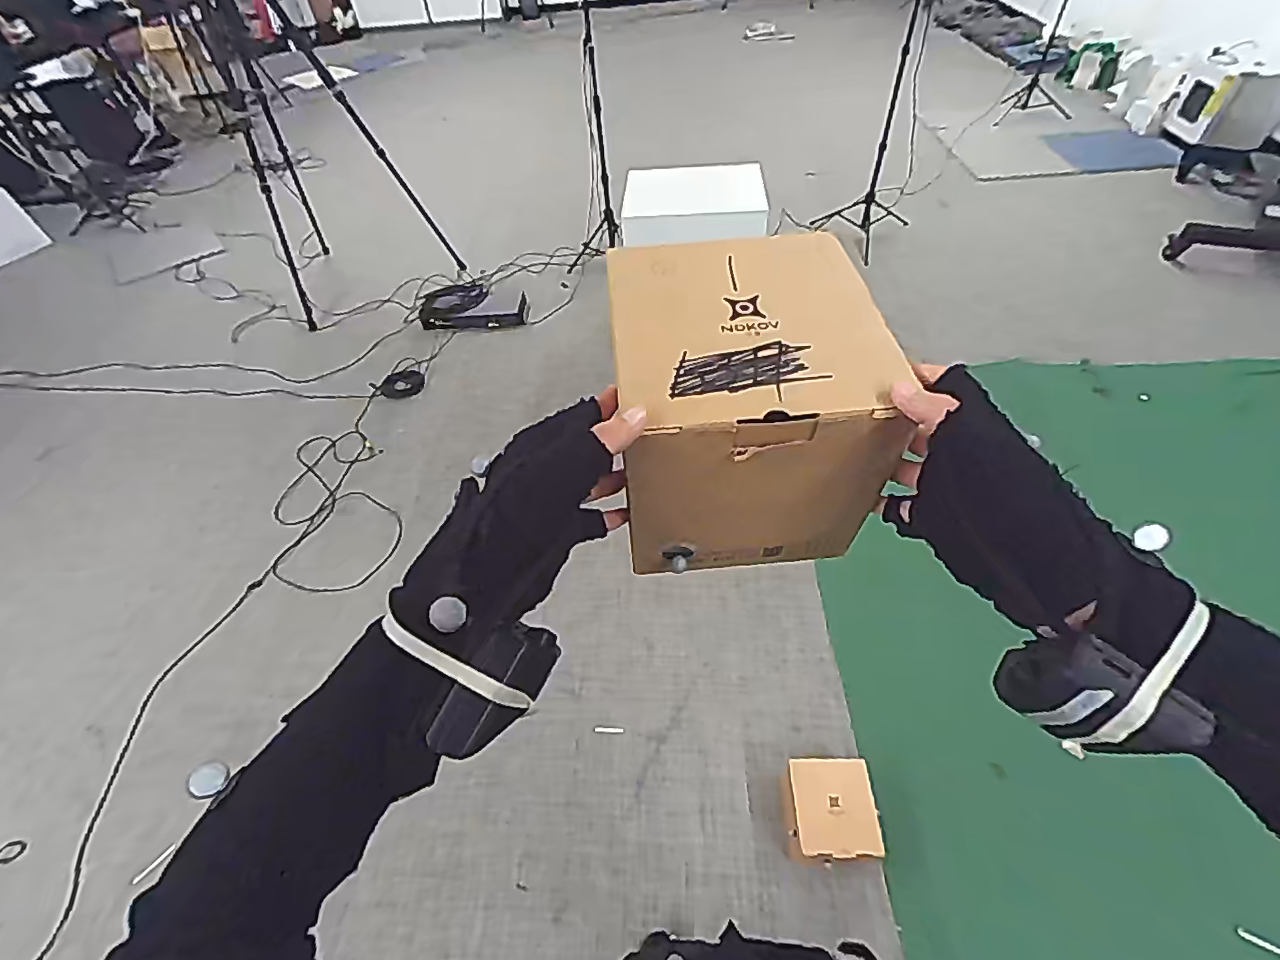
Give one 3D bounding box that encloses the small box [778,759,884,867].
[{"bbox_3d":[0.402,0.723,1.173,0.168,0.176,0.179,-2,50,3],"label":"small box"}]
